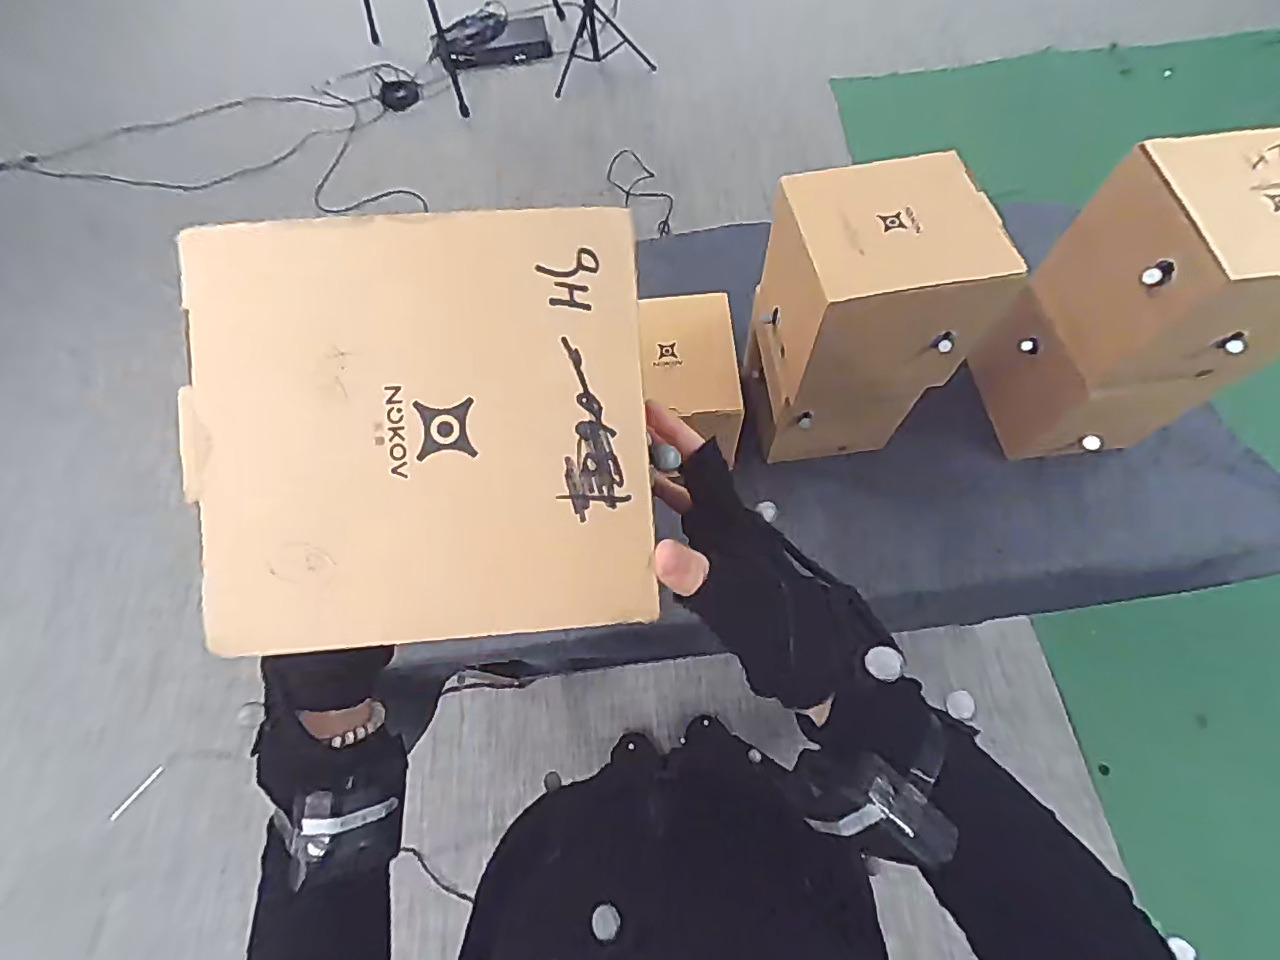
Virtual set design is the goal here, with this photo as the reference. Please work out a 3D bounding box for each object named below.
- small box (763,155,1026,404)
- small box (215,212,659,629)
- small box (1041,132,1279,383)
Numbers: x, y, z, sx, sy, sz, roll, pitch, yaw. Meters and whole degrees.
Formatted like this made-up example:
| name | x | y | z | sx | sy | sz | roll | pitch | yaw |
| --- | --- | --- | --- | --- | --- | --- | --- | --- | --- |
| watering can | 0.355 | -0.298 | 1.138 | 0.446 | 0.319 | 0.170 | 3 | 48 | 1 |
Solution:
| name | x | y | z | sx | sy | sz | roll | pitch | yaw |
| --- | --- | --- | --- | --- | --- | --- | --- | --- | --- |
| small box | 0.242 | -0.200 | 0.568 | 0.179 | 0.176 | 0.168 | -9 | 64 | 1 |
| small box | -0.082 | -0.023 | 0.296 | 0.179 | 0.176 | 0.168 | -2 | 90 | -2 |
| small box | 0.562 | -0.212 | 0.549 | 0.168 | 0.176 | 0.179 | -4 | 65 | 2 |
